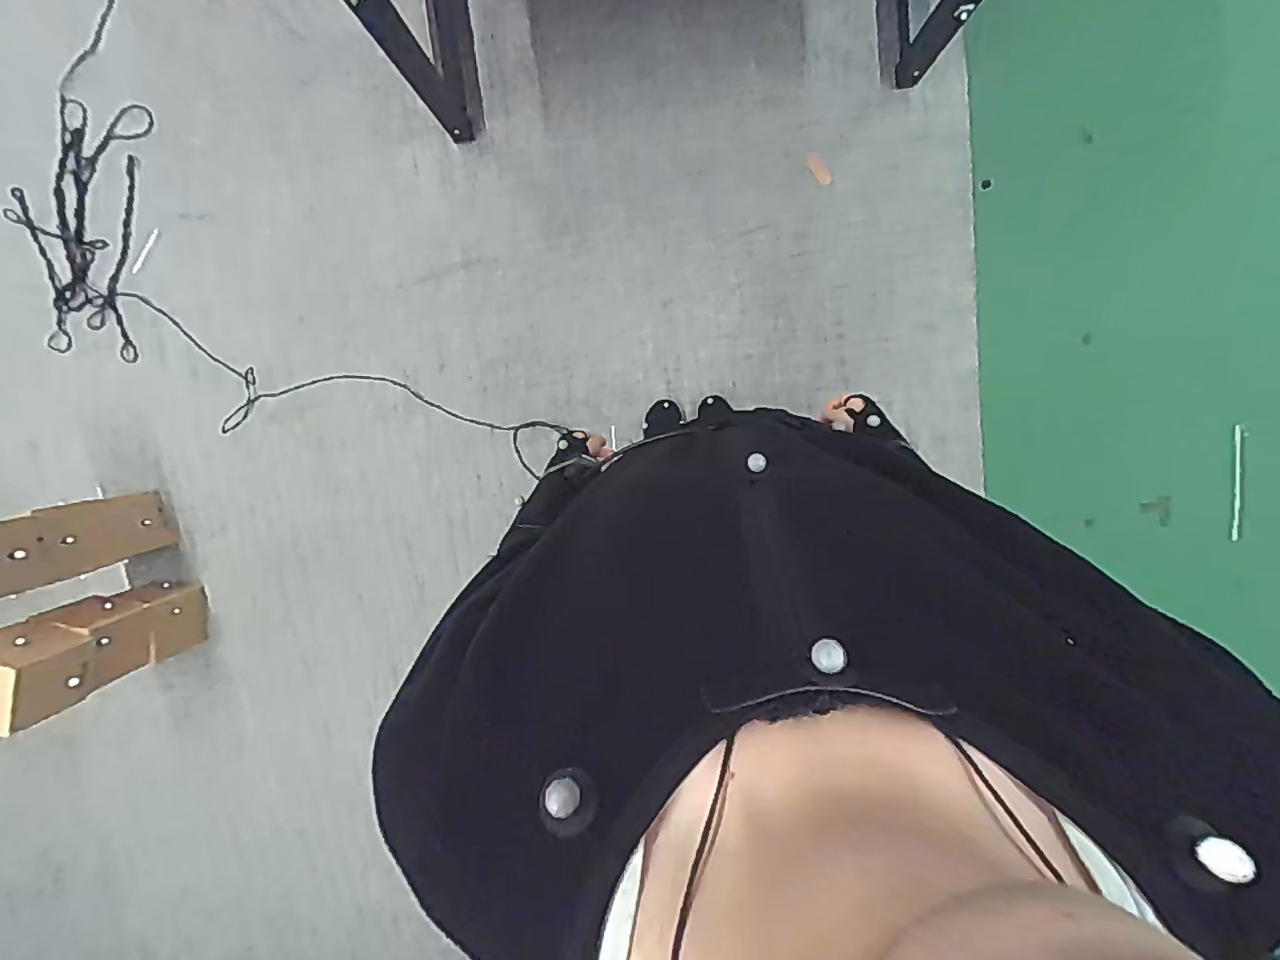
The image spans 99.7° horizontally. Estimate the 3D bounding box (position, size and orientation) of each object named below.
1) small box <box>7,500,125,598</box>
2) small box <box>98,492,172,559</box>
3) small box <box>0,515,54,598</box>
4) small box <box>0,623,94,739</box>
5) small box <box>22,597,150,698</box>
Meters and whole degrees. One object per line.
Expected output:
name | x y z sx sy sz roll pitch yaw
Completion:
small box | -1.456 0.164 1.345 0.168 0.176 0.179 -18 97 4
small box | -1.463 0.138 1.506 0.179 0.176 0.168 -14 97 4
small box | -1.457 0.182 1.183 0.179 0.176 0.168 -11 97 2
small box | -1.406 0.441 1.216 0.179 0.176 0.168 15 97 0
small box | -1.407 0.419 1.379 0.168 0.176 0.179 10 97 2
